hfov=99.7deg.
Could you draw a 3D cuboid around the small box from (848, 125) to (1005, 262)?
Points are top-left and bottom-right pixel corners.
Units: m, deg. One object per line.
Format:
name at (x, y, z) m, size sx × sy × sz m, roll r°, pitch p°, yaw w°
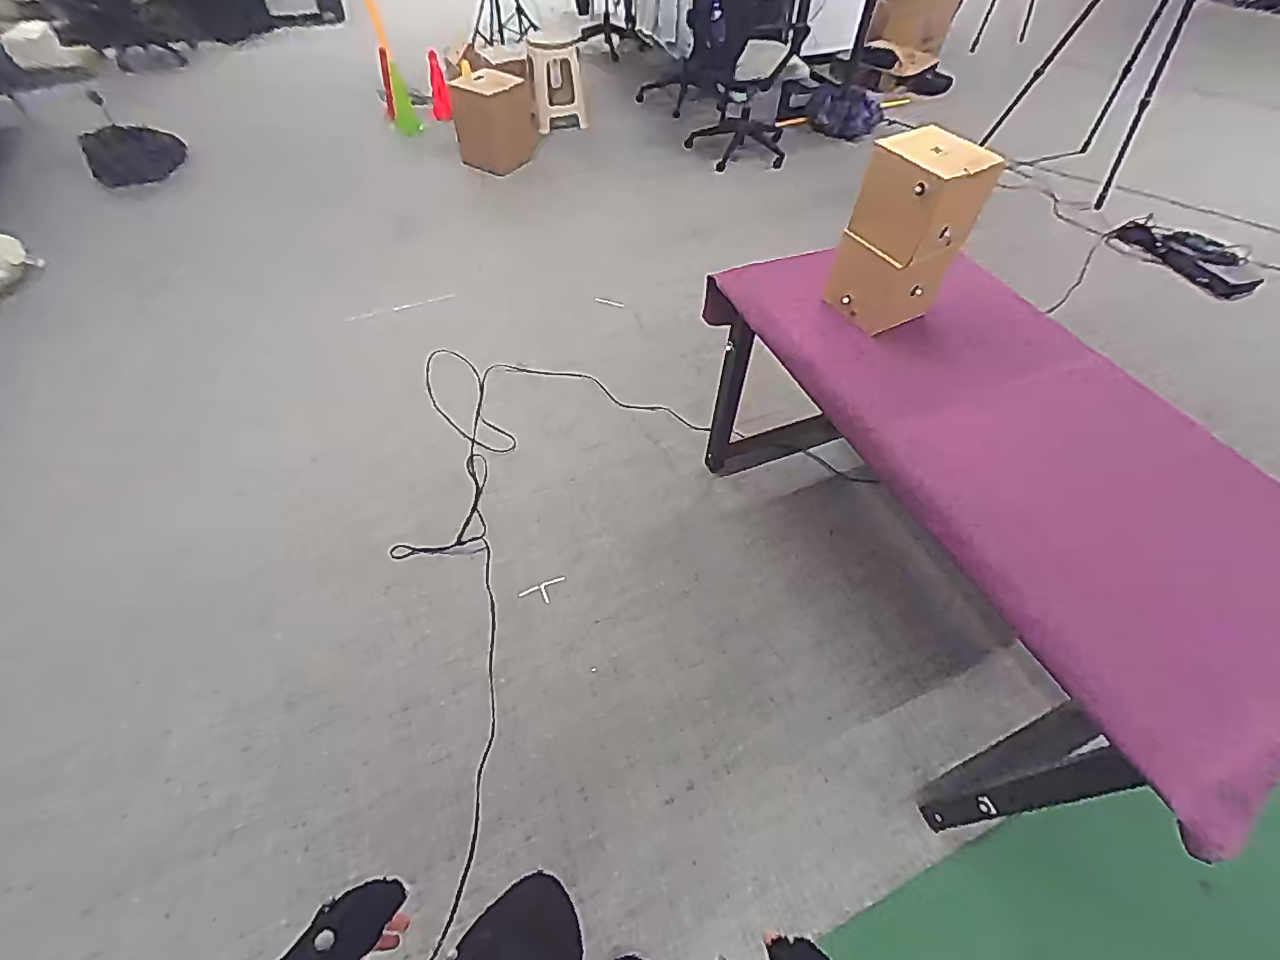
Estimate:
small box at (0.540, -0.553, 1.048) m, size 0.168 × 0.176 × 0.179 m, roll -26°, pitch 58°, yaw -19°
